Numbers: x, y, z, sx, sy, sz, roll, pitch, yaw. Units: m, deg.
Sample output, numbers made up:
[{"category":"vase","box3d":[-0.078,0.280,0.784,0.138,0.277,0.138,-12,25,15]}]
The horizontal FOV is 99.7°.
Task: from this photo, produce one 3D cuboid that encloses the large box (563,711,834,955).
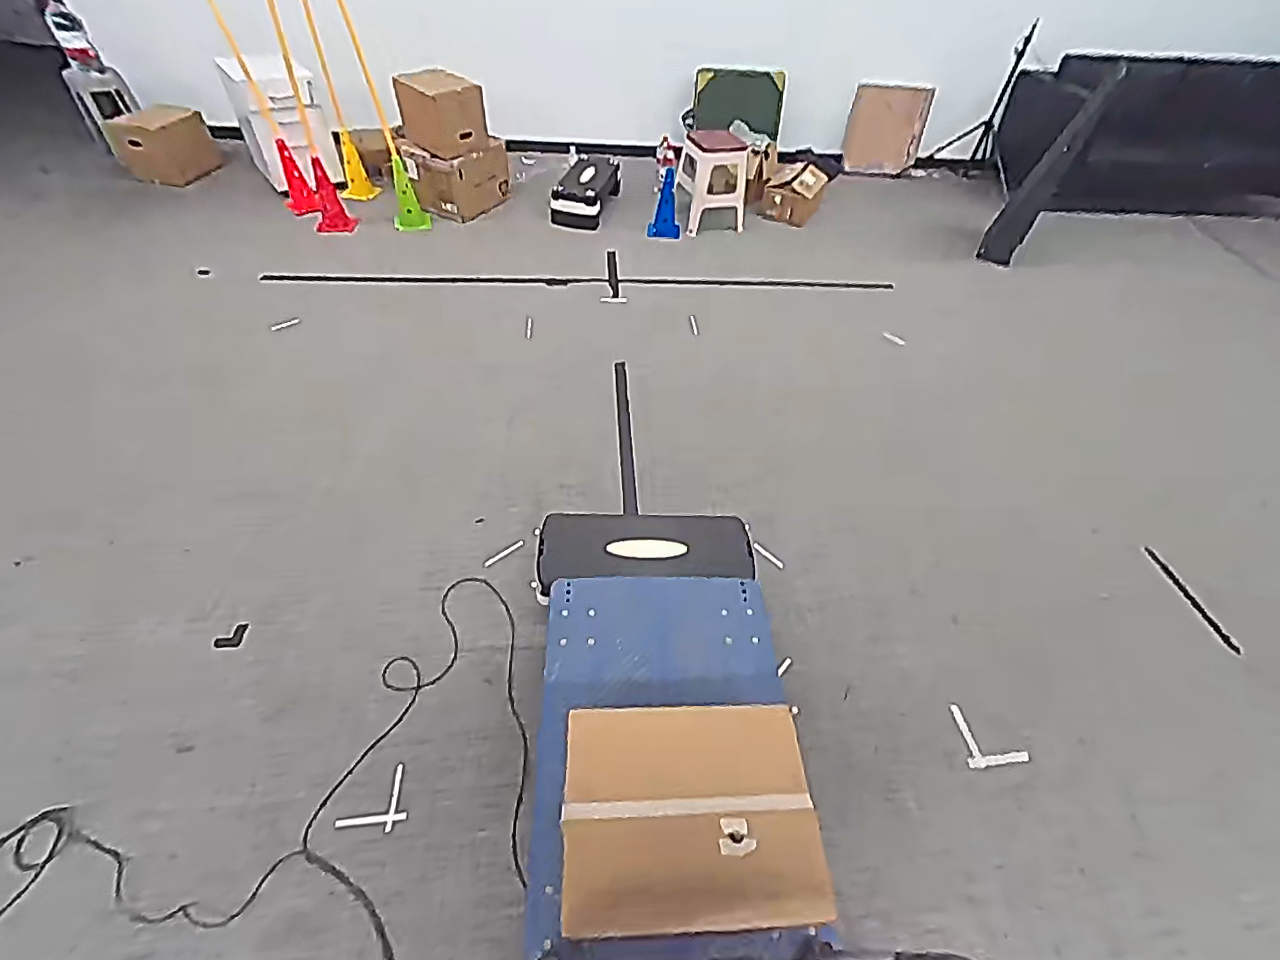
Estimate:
[{"category":"large box","box3d":[0.066,0.635,0.977,0.408,0.320,0.320,1,49,-6]}]
